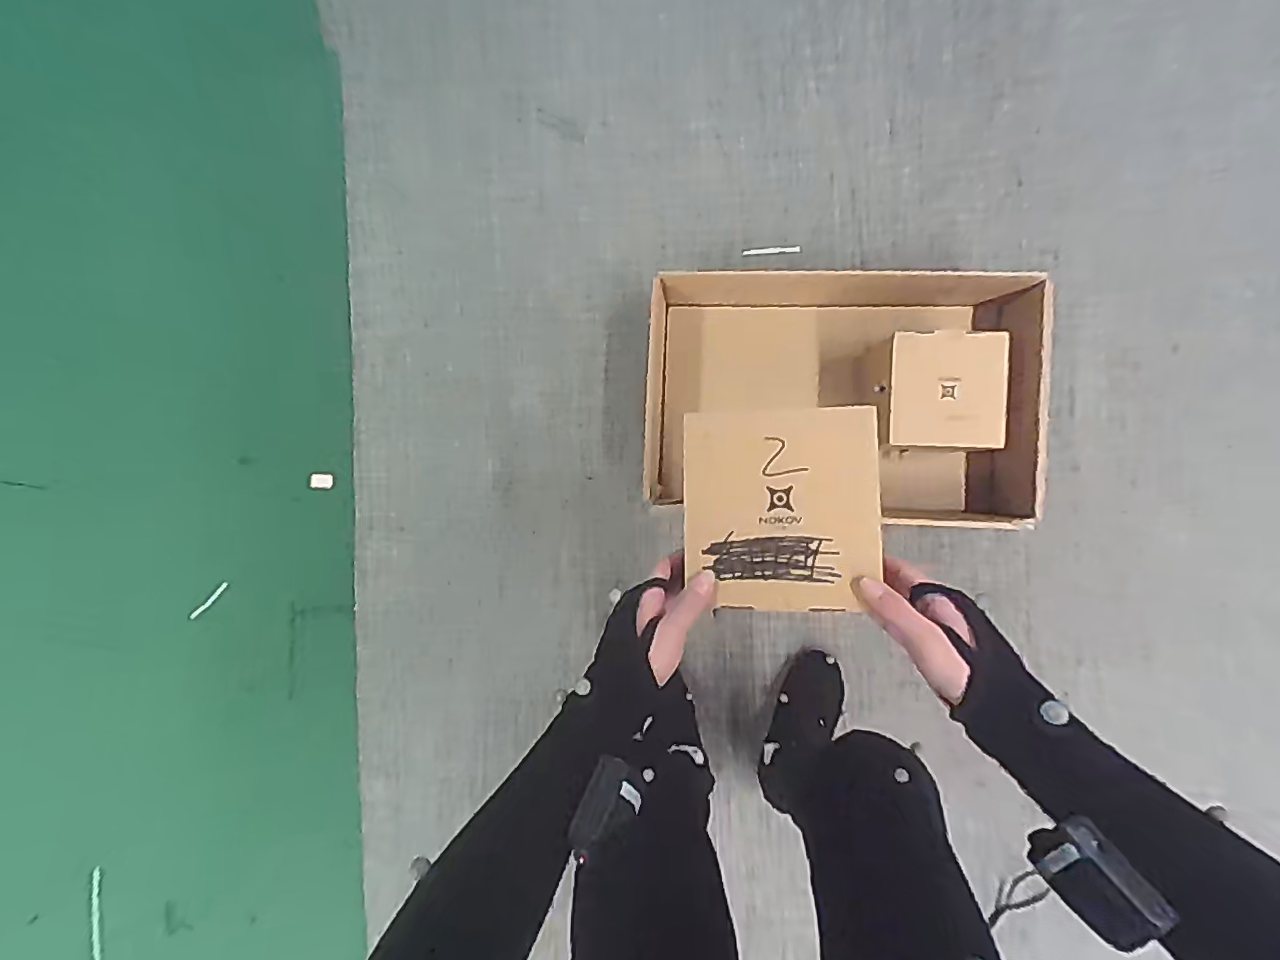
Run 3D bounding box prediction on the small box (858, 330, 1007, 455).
[{"bbox_3d":[0.468,-0.136,0.889,0.168,0.176,0.179,3,90,7],"label":"small box"}]
